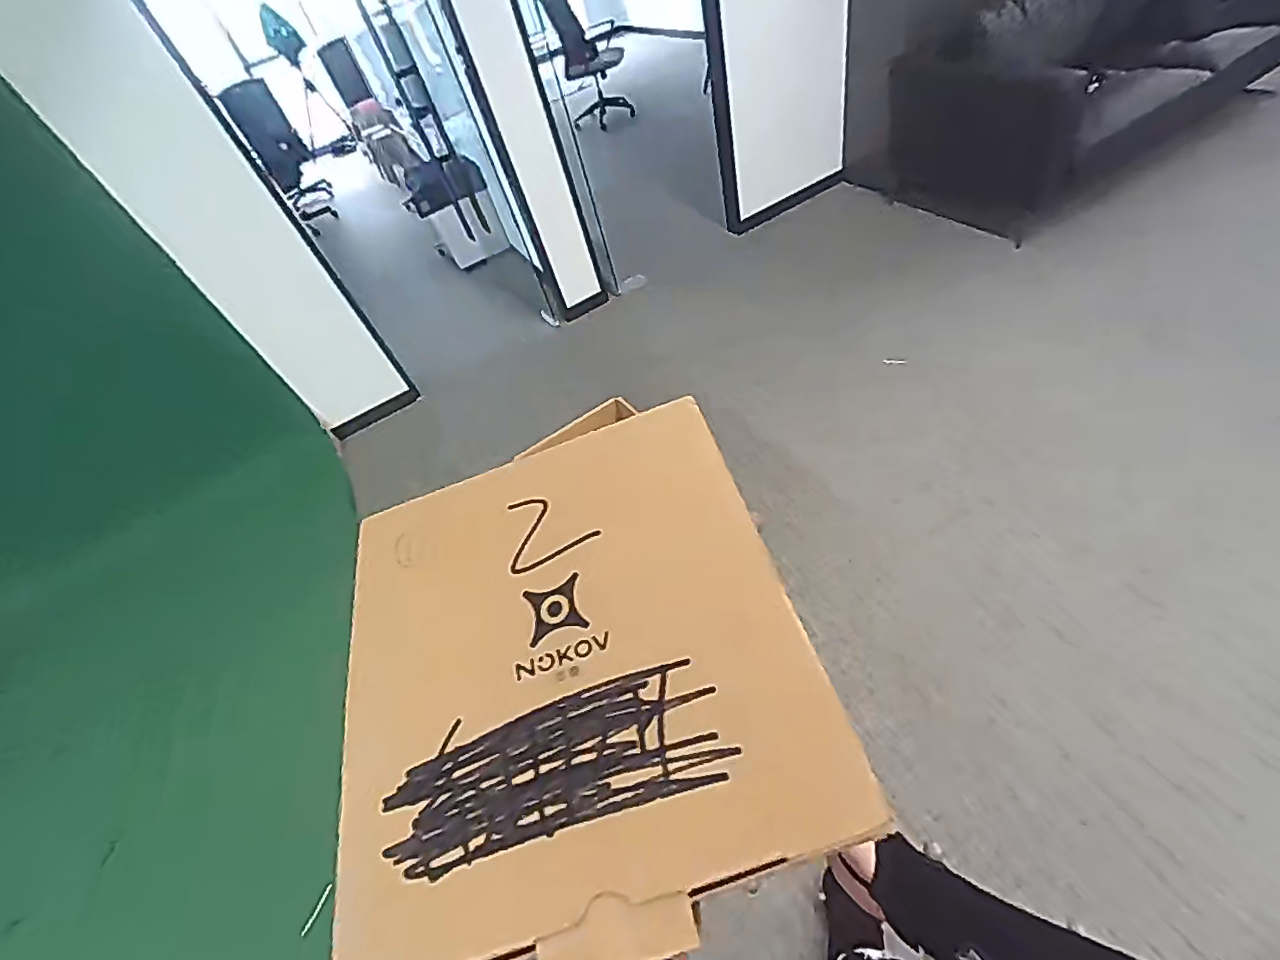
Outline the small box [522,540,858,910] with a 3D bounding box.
[{"bbox_3d":[0.032,0.179,0.396,0.168,0.176,0.179,-22,53,0],"label":"small box"}]
